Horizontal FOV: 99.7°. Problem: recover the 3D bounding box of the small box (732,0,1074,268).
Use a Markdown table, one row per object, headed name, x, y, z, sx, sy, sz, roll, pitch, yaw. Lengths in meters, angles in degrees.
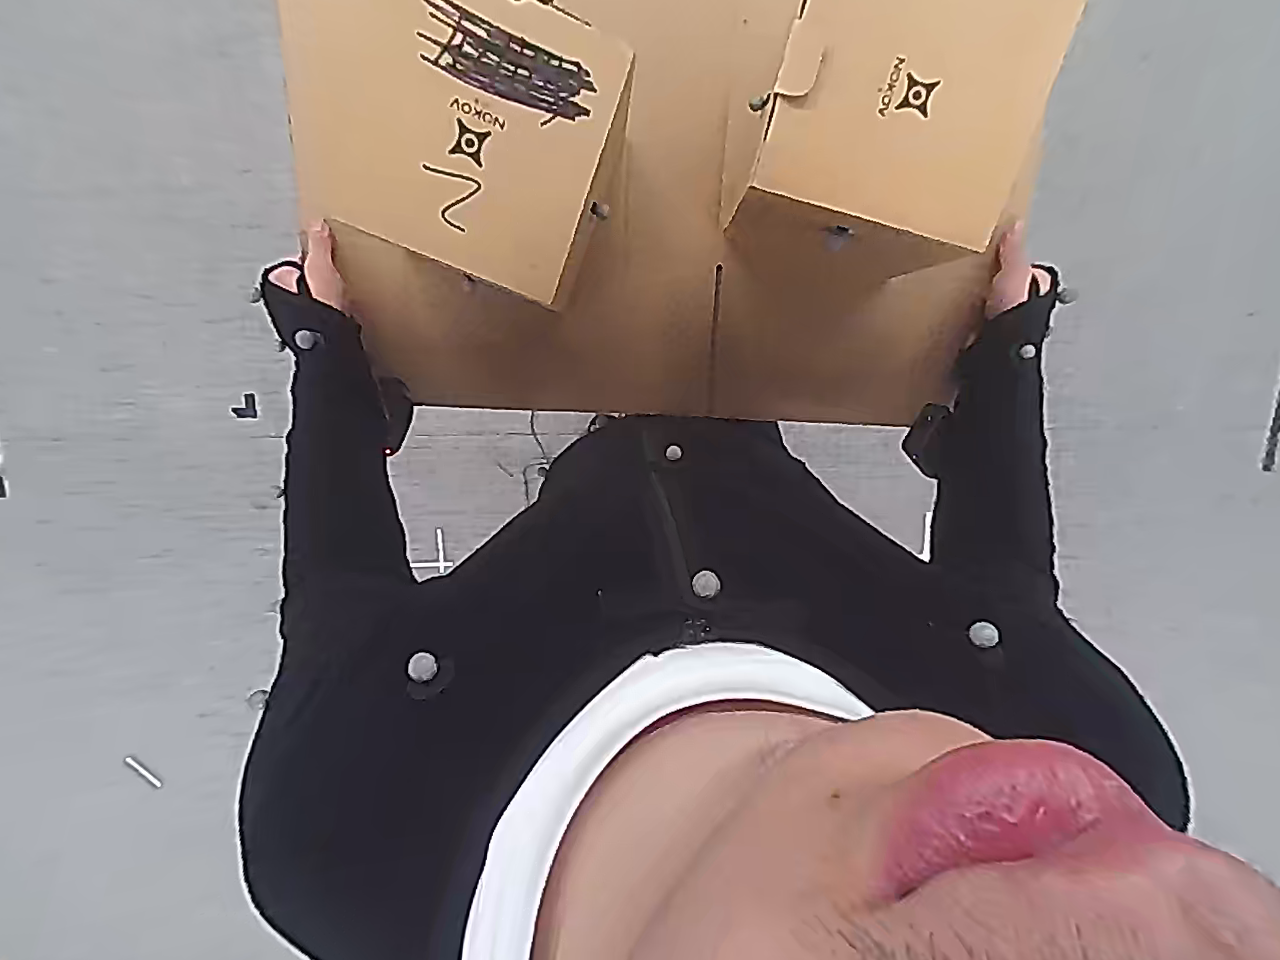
| name | x | y | z | sx | sy | sz | roll | pitch | yaw |
| --- | --- | --- | --- | --- | --- | --- | --- | --- | --- |
| small box | 0.189 | -0.288 | 0.454 | 0.179 | 0.176 | 0.168 | 15 | 104 | 0 |
